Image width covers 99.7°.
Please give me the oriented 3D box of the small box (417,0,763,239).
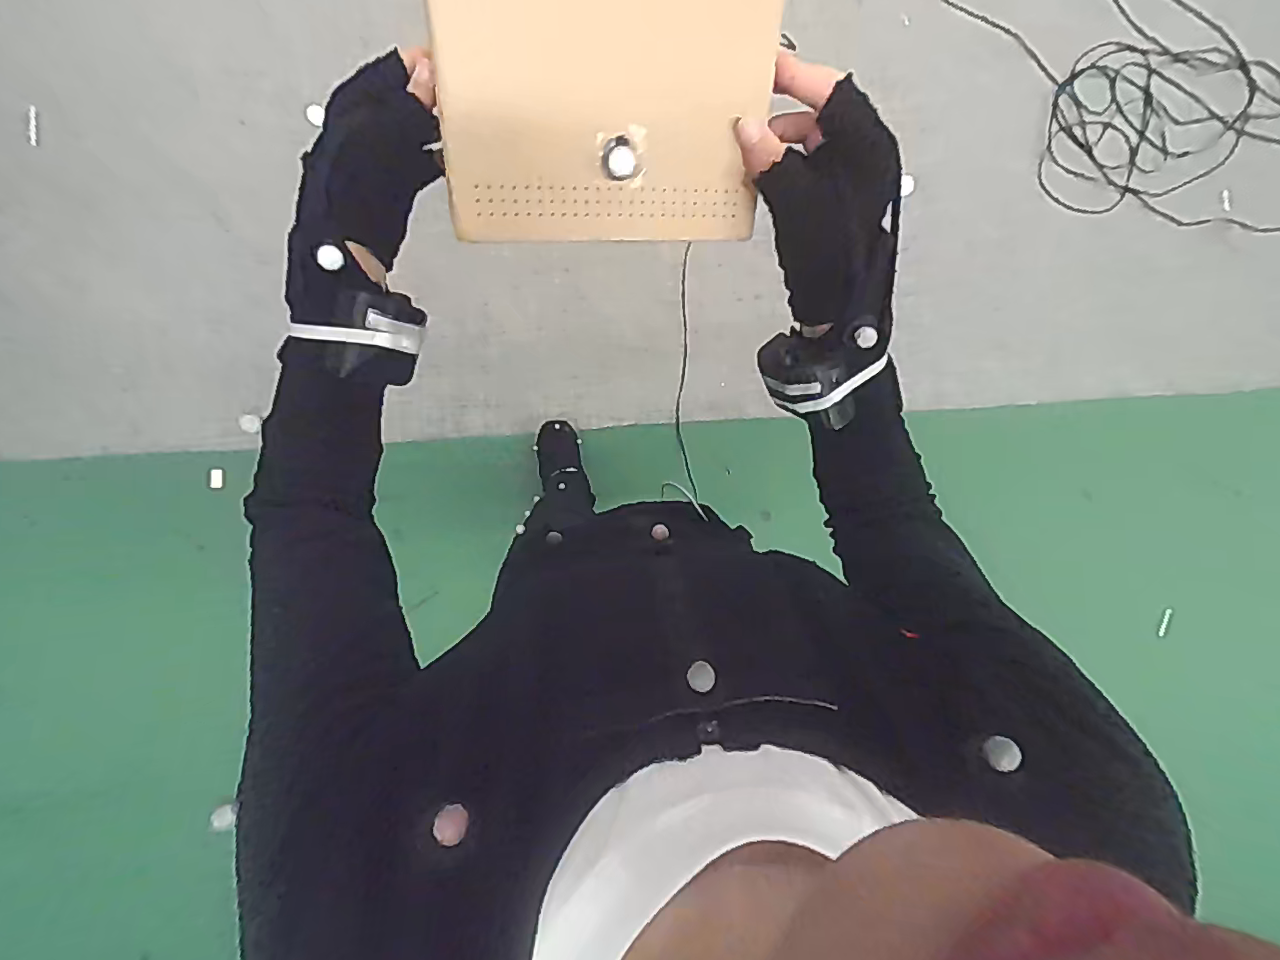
[{"bbox_3d":[-0.038,-0.254,0.337,0.179,0.168,0.176,-7,123,-15],"label":"small box"}]
